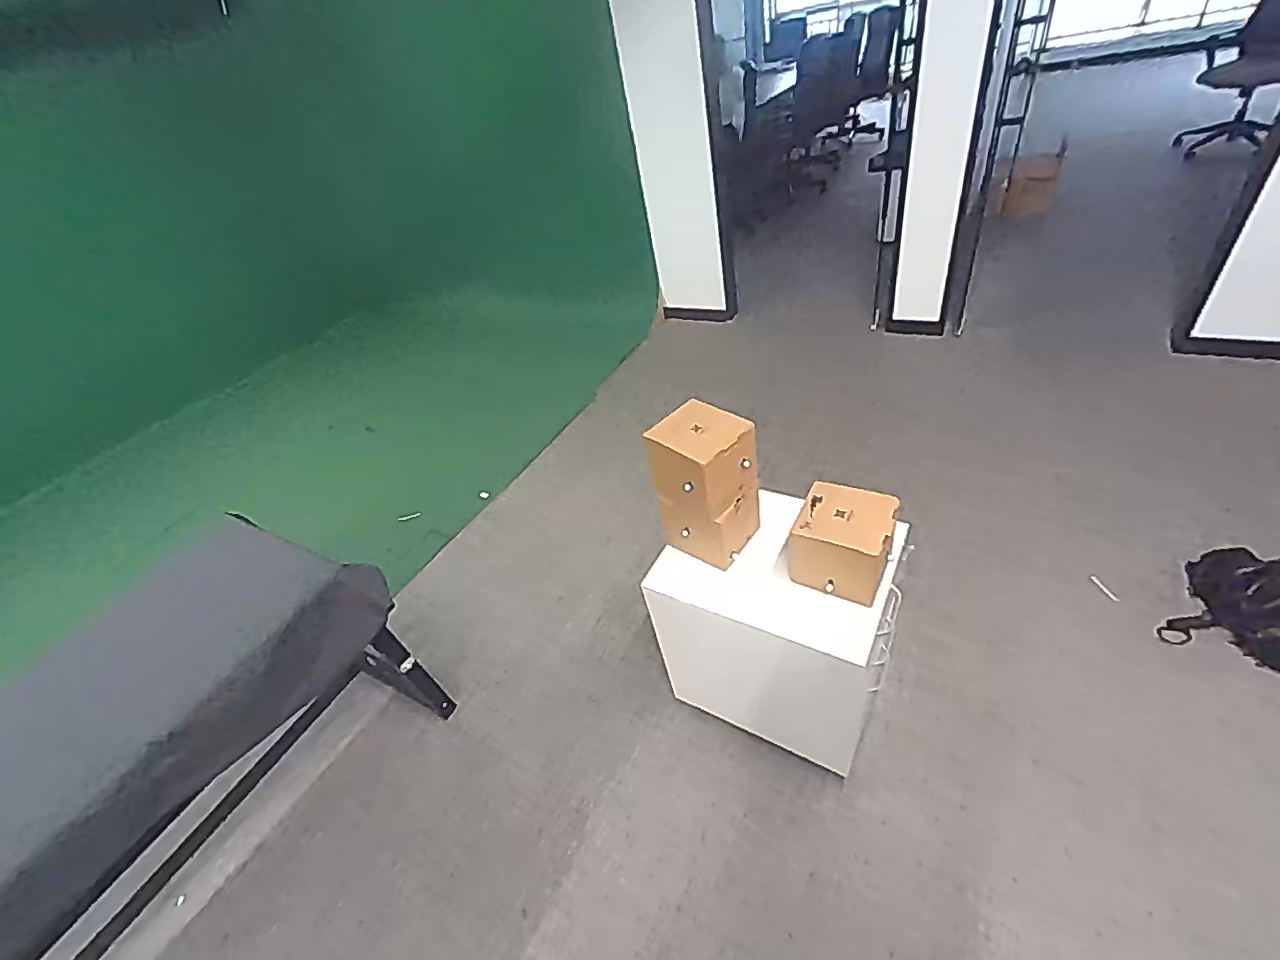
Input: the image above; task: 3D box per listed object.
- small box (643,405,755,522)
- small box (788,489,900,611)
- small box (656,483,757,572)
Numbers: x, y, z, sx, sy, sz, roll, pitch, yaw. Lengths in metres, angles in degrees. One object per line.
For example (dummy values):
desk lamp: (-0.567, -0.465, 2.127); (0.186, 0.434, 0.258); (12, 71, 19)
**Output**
small box: (0.134, -0.034, 1.176); (0.168, 0.176, 0.179); (-36, 45, -29)
small box: (0.425, 0.150, 1.141); (0.179, 0.176, 0.168); (16, 47, 30)
small box: (0.163, 0.090, 1.276); (0.179, 0.176, 0.168); (22, 50, 34)
